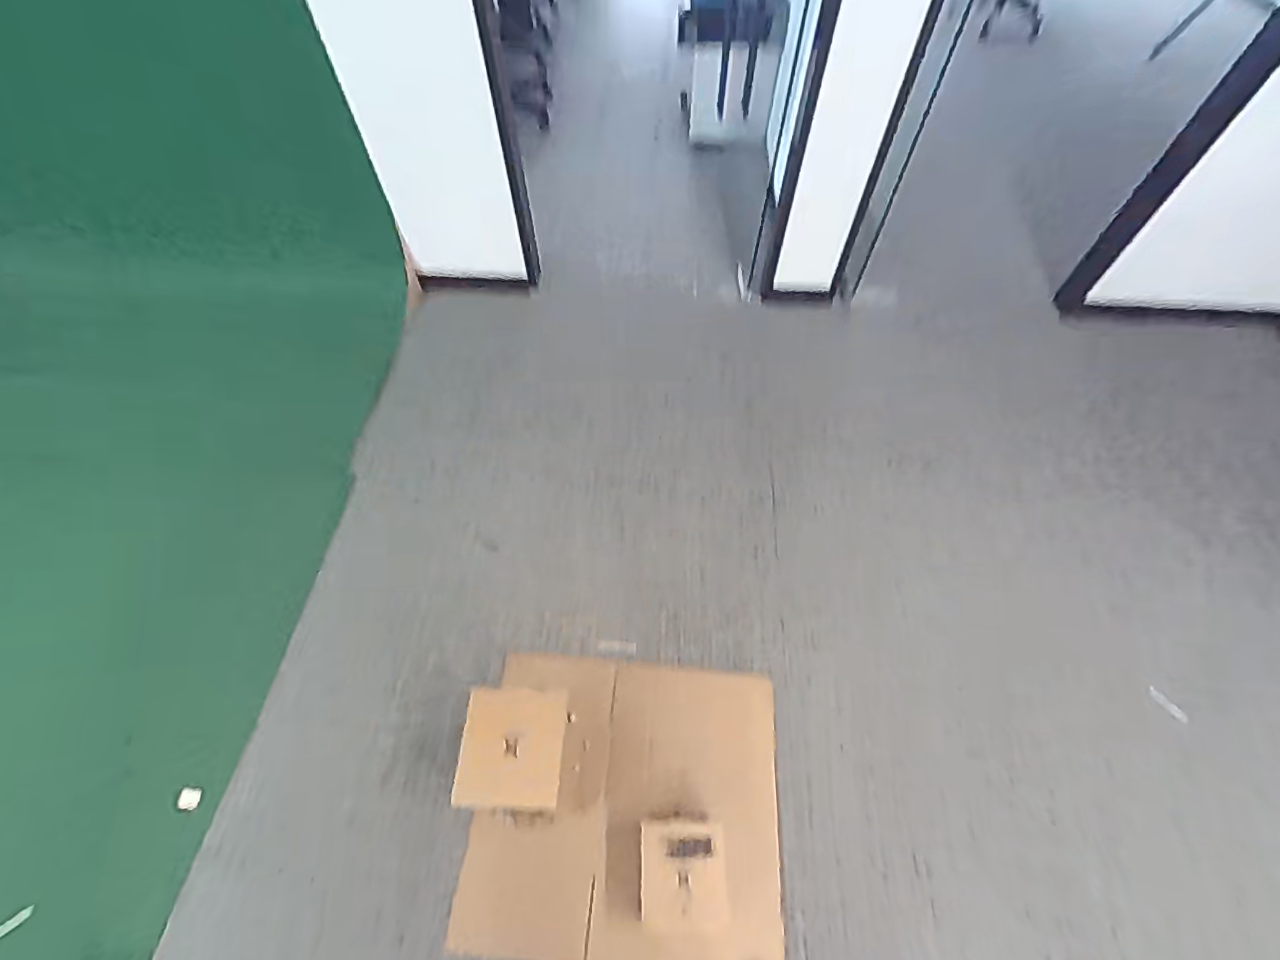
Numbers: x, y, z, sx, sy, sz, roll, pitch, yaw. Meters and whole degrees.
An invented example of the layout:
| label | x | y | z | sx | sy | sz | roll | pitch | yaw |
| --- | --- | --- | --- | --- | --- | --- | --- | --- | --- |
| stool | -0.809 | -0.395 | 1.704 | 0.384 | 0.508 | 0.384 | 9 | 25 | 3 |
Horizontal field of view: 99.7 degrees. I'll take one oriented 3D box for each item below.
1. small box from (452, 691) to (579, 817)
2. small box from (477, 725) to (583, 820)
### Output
| label | x | y | z | sx | sy | sz | roll | pitch | yaw |
| --- | --- | --- | --- | --- | --- | --- | --- | --- | --- |
| small box | -0.200 | 0.473 | 0.929 | 0.168 | 0.176 | 0.179 | 1 | 56 | 1 |
| small box | -0.205 | 0.563 | 1.064 | 0.168 | 0.176 | 0.179 | 1 | 56 | 1 |
